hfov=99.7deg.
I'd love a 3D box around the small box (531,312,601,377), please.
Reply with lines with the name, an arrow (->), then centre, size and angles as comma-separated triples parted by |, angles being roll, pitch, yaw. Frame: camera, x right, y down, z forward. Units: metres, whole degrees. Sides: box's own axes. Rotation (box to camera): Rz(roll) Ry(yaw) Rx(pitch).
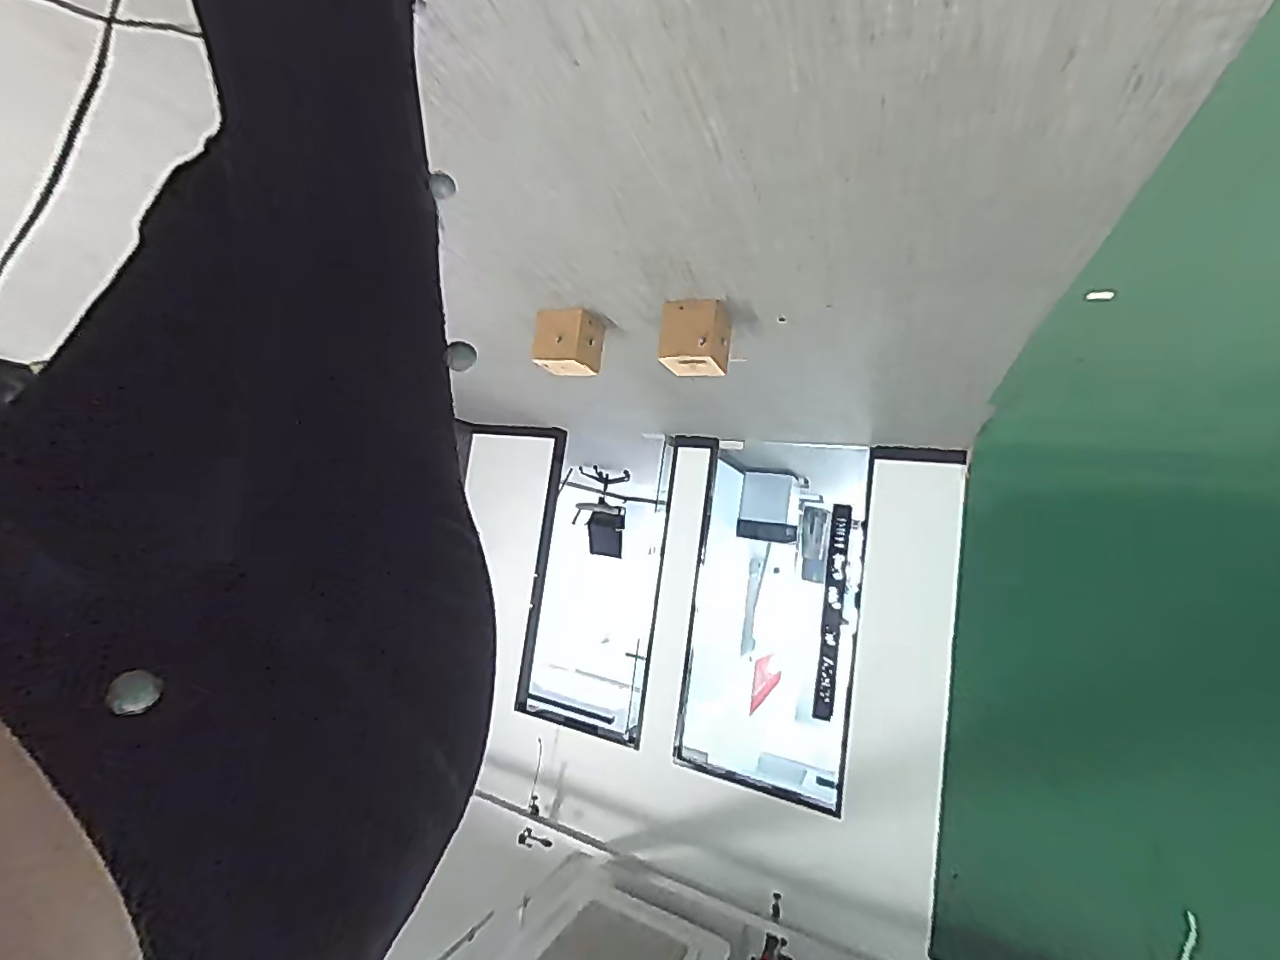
small box -> -0.240, -0.449, 1.801 | 0.179, 0.176, 0.168 | 5, 174, 24
